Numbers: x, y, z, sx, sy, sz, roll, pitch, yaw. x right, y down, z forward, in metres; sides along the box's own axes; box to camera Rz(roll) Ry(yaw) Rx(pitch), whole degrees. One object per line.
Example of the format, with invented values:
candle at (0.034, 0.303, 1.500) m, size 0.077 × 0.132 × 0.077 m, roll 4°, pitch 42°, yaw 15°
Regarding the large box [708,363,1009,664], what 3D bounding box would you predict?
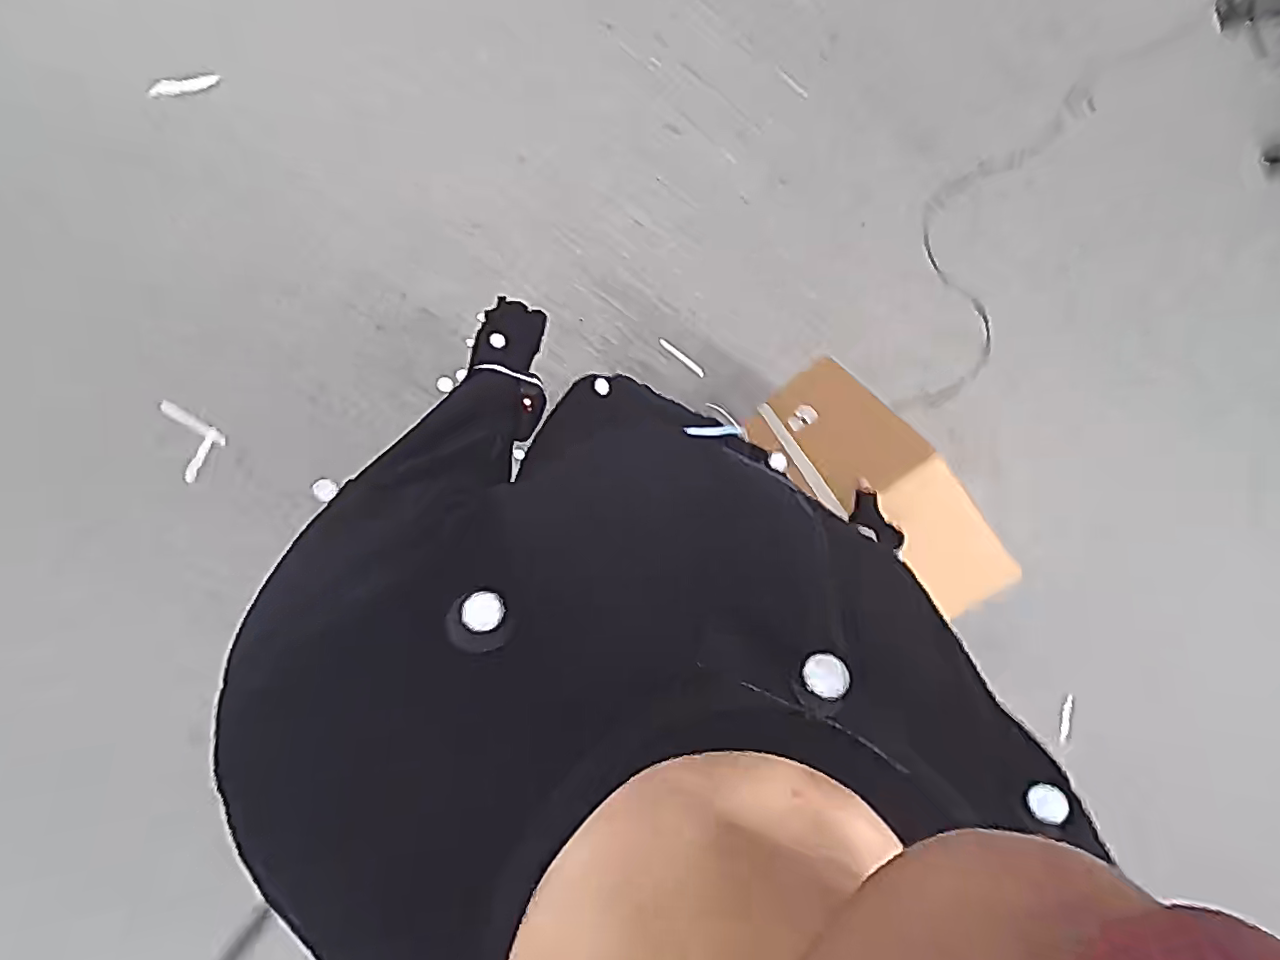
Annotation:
large box at (0.370, 0.049, 1.009) m, size 0.320 × 0.408 × 0.320 m, roll -38°, pitch 116°, yaw 18°
